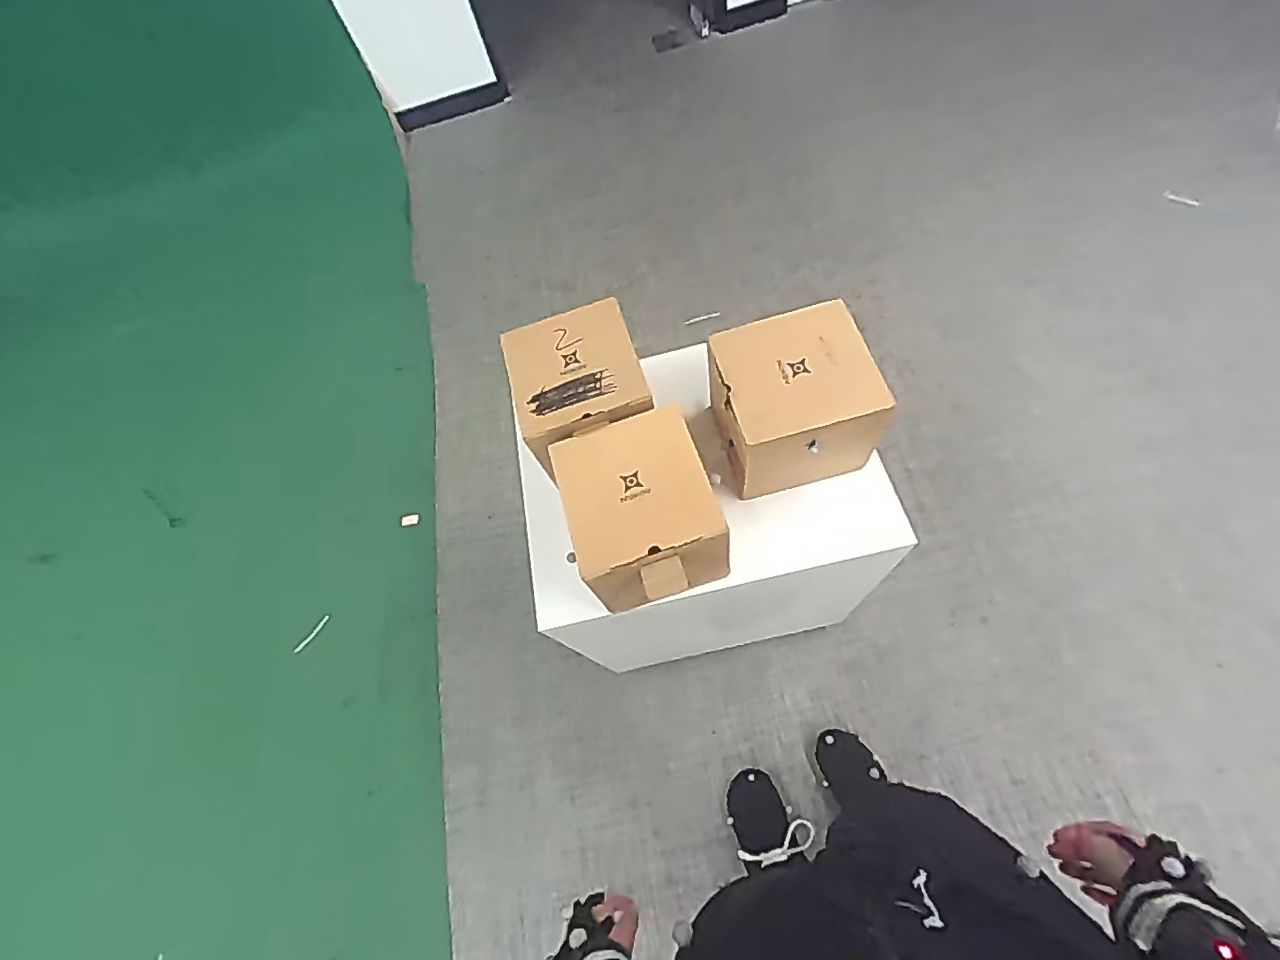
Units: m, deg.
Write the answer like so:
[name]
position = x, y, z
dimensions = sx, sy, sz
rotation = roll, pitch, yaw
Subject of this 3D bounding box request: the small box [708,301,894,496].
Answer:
[small box]
position = 0.197, -0.095, 0.708
dimensions = 0.179, 0.176, 0.168
rotation = -15, 65, 2
